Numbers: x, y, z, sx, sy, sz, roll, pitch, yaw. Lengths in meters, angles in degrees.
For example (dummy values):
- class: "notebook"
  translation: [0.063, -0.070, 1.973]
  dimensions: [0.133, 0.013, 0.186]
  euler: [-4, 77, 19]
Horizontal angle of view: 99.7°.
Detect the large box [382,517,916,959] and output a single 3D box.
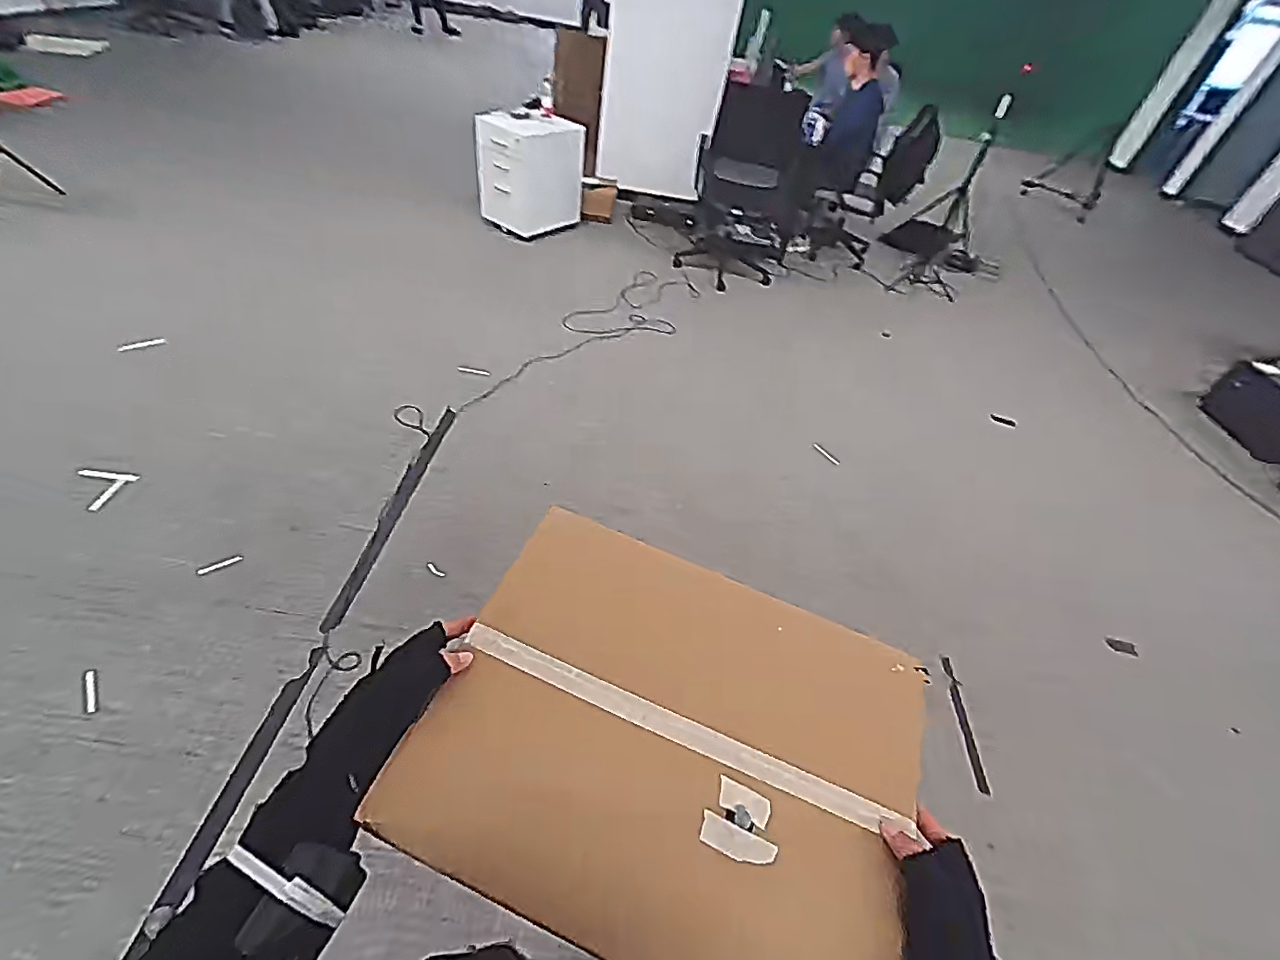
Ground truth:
- class: "large box"
  translation: [0.018, 0.306, 0.591]
  dimensions: [0.408, 0.320, 0.320]
  euler: [22, 54, 8]
